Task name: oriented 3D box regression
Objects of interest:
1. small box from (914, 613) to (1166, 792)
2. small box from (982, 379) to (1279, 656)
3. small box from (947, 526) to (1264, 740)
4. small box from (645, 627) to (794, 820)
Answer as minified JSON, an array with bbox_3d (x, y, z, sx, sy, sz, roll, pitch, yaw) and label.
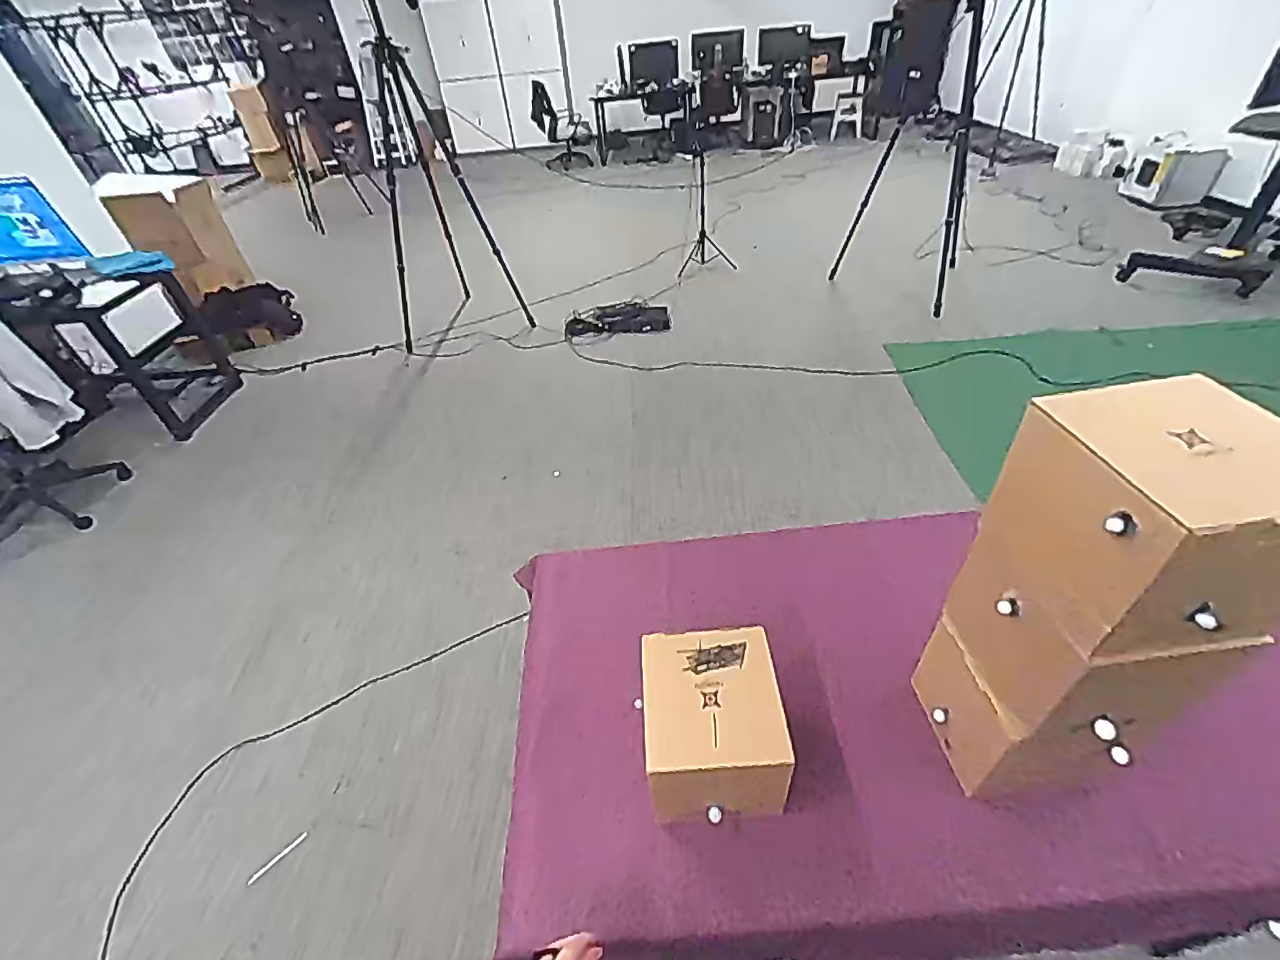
[{"bbox_3d":[0.491,0.281,0.700,0.179,0.176,0.168,-6,40,1],"label":"small box"},{"bbox_3d":[0.457,0.032,0.494,0.168,0.176,0.179,-9,42,-1],"label":"small box"},{"bbox_3d":[0.475,0.157,0.595,0.168,0.176,0.179,-7,42,1],"label":"small box"},{"bbox_3d":[0.094,0.319,0.711,0.168,0.176,0.179,-5,41,2],"label":"small box"}]
